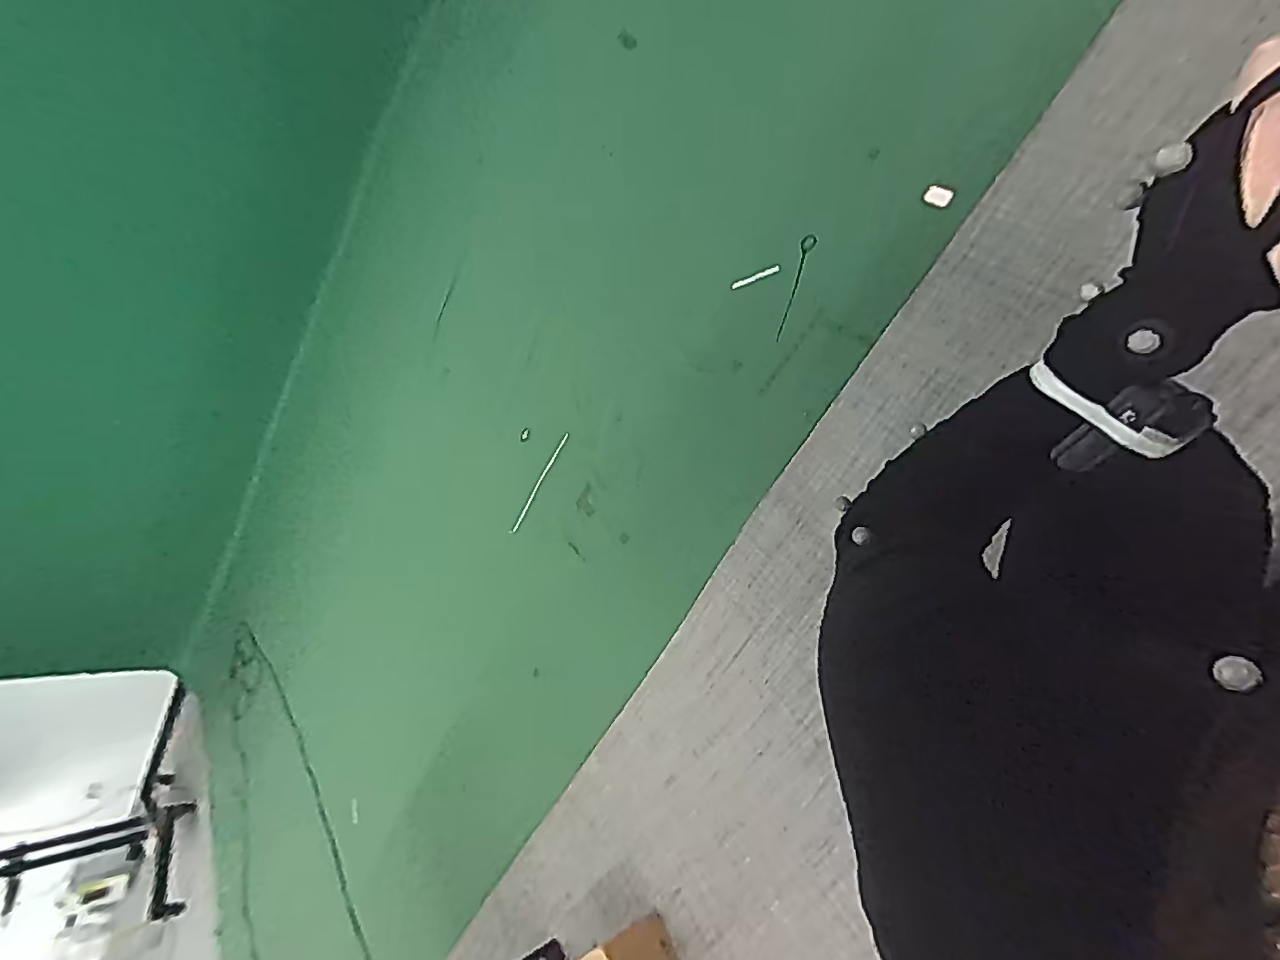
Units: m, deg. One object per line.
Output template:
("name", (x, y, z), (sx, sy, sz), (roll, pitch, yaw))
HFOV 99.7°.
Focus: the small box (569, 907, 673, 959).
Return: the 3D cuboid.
("small box", (-0.038, 1.018, 1.095), (0.179, 0.176, 0.168), (-51, 52, 22))
